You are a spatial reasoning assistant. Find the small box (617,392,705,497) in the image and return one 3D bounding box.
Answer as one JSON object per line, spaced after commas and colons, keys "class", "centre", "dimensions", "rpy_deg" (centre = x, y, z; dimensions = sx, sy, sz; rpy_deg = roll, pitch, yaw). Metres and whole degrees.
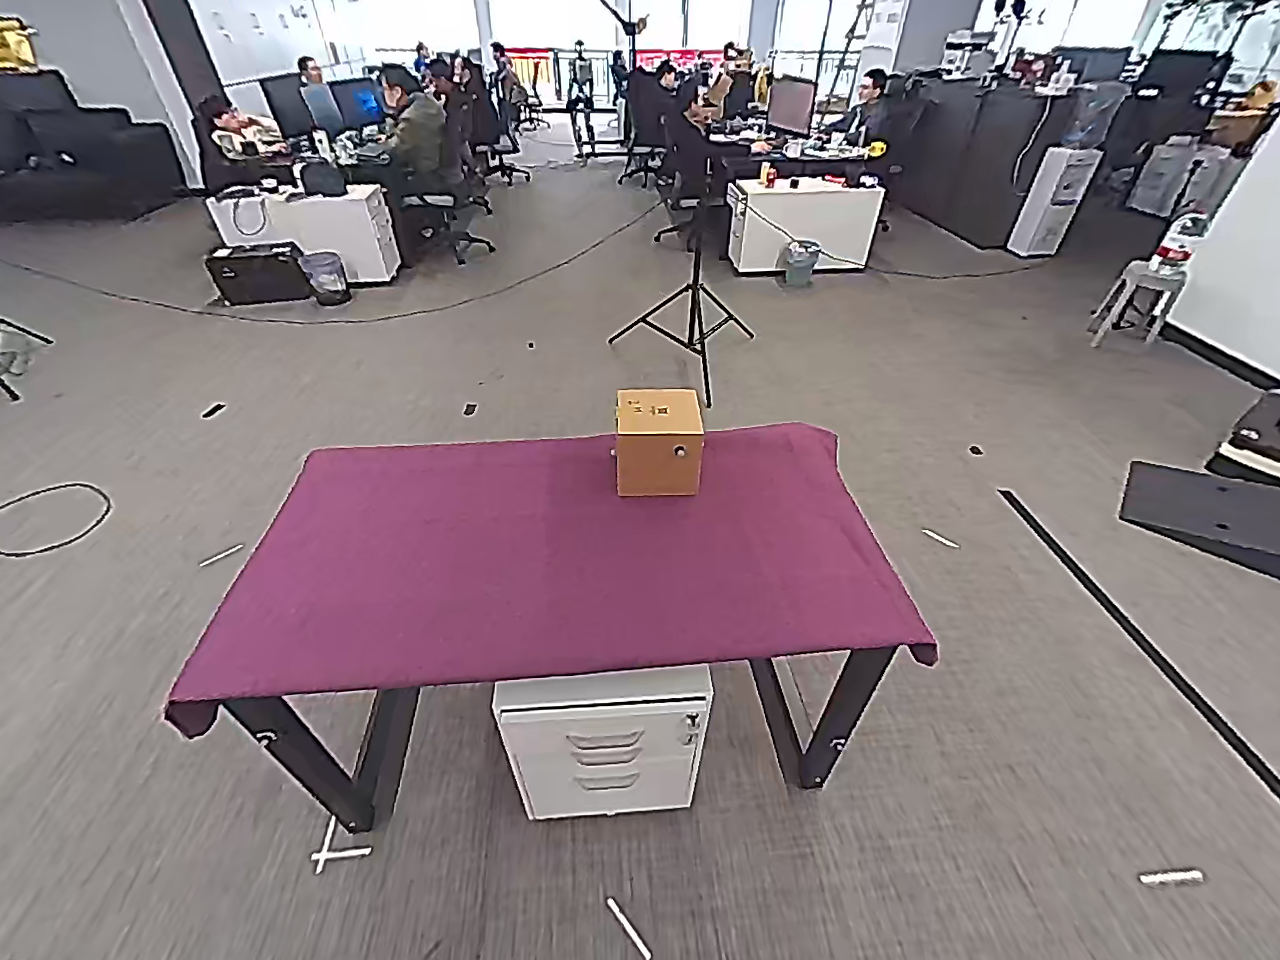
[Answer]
{"class": "small box", "centre": [0.039, -0.076, 1.181], "dimensions": [0.179, 0.176, 0.168], "rpy_deg": [-1, 41, -1]}
